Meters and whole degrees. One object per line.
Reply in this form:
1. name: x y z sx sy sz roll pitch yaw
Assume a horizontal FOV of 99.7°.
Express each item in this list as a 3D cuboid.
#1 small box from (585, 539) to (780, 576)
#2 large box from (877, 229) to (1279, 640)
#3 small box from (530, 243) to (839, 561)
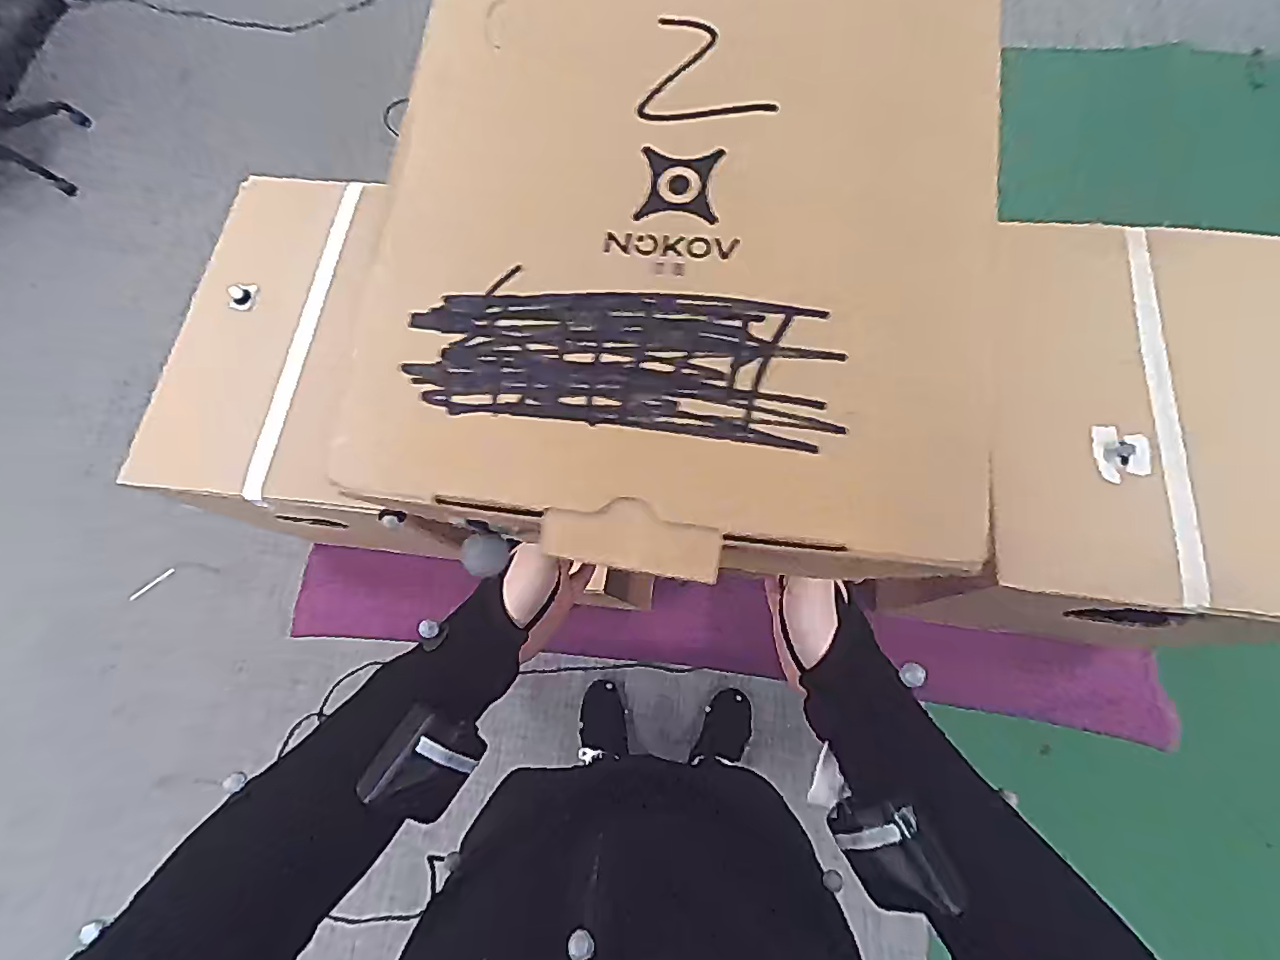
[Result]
1. small box: 0.049 0.000 0.541 0.168 0.176 0.179 3 79 7
2. large box: 0.504 -0.030 0.665 0.320 0.320 0.408 6 73 6
3. small box: 0.034 -0.039 0.385 0.168 0.176 0.179 4 80 6
